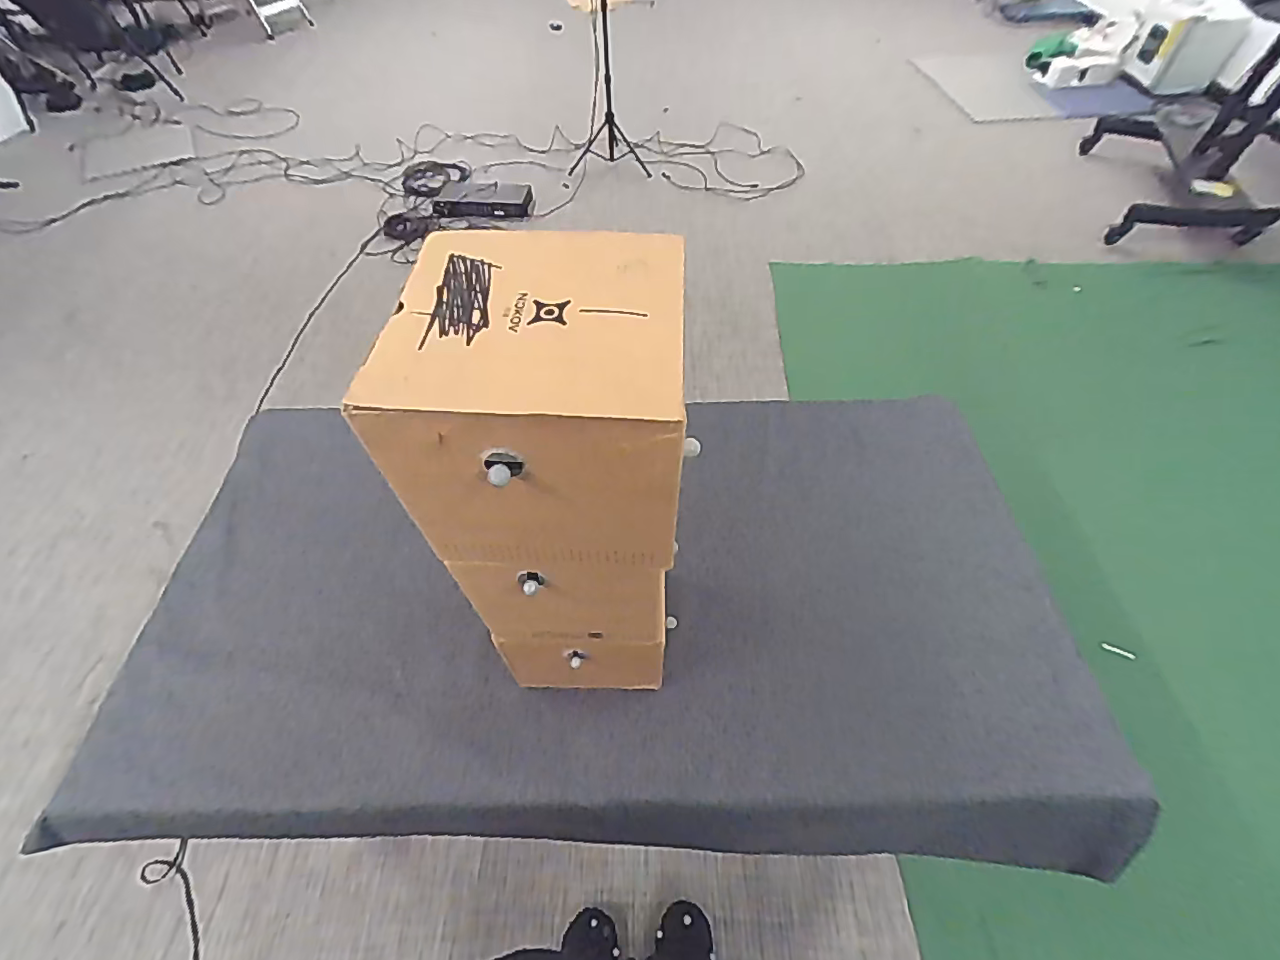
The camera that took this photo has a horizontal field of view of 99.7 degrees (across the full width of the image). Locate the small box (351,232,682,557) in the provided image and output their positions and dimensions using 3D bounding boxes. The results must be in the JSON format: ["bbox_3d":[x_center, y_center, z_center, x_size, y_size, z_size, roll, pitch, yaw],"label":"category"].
[{"bbox_3d":[-0.062,-0.055,0.392,0.179,0.176,0.168,3,55,2],"label":"small box"}]

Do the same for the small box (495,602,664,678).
[{"bbox_3d":[-0.060,0.135,0.659,0.179,0.176,0.168,1,54,1],"label":"small box"}]

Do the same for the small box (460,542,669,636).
[{"bbox_3d":[-0.059,0.038,0.530,0.168,0.176,0.179,0,55,0],"label":"small box"}]
